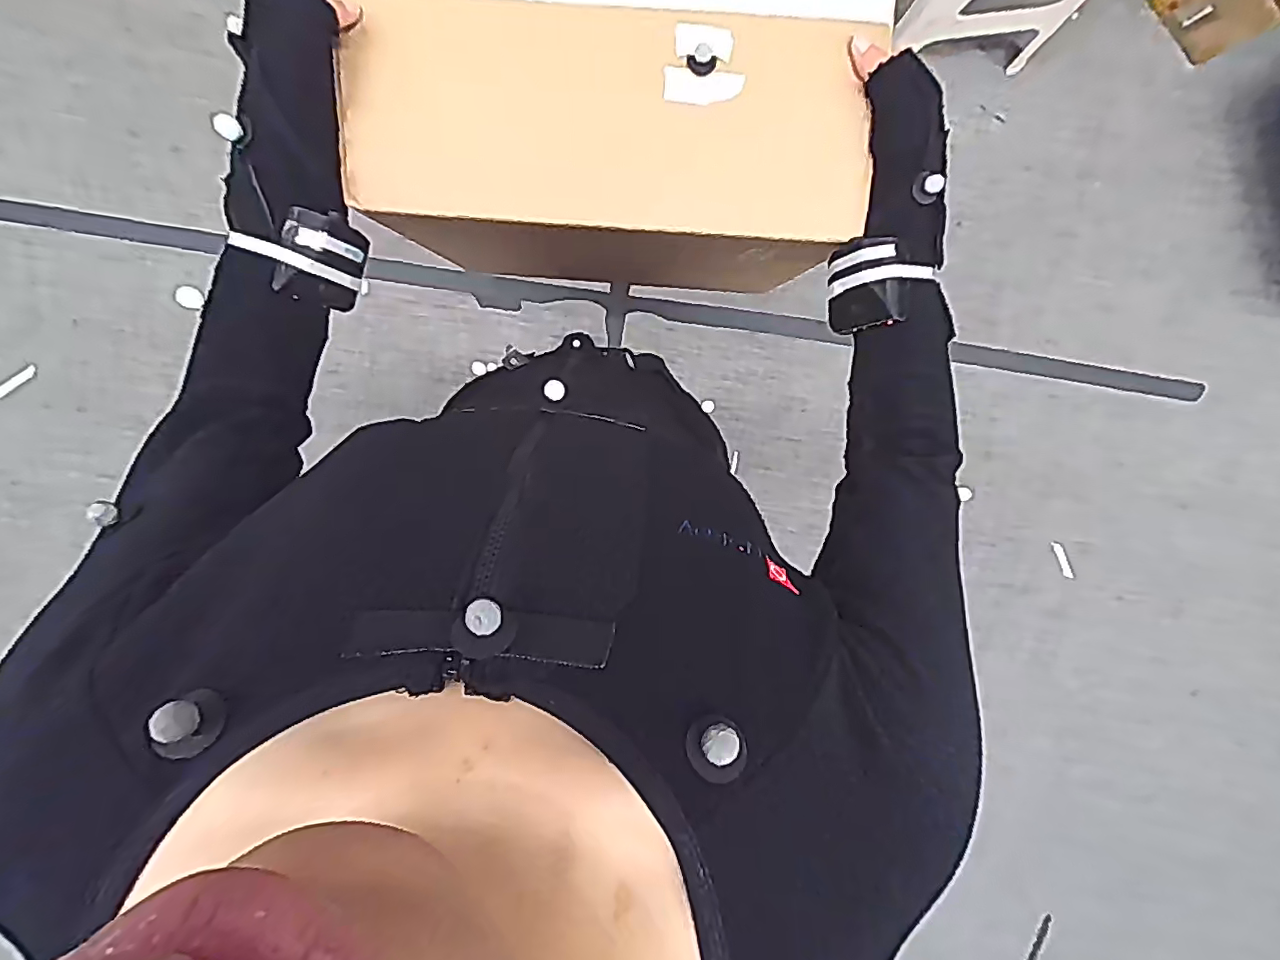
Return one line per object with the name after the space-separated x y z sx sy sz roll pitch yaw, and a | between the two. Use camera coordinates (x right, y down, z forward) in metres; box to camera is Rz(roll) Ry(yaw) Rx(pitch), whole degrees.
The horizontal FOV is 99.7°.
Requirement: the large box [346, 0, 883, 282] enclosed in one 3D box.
-0.020 -0.391 0.543 0.408 0.320 0.320 3 103 -2 | large box
